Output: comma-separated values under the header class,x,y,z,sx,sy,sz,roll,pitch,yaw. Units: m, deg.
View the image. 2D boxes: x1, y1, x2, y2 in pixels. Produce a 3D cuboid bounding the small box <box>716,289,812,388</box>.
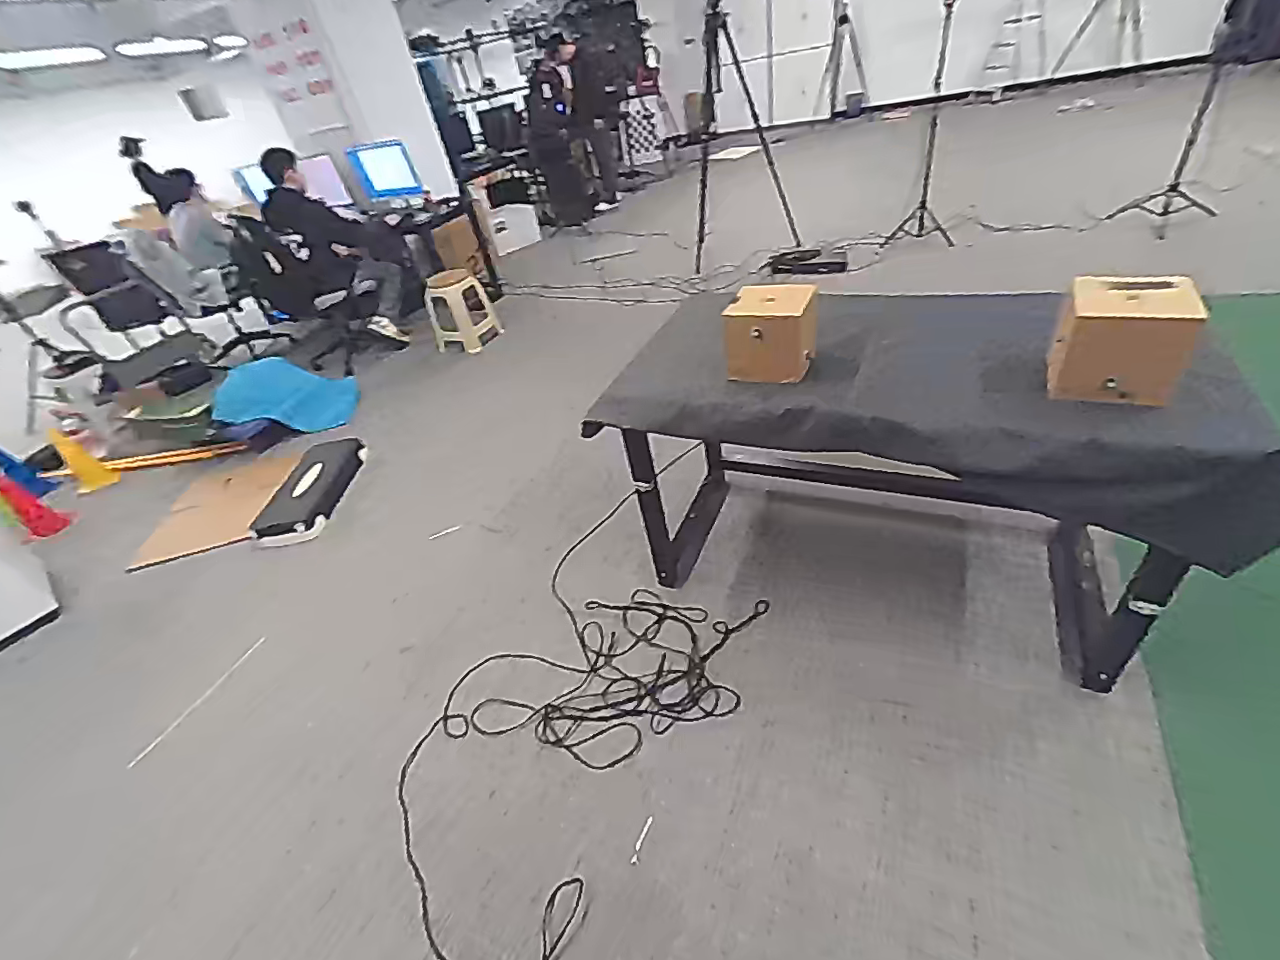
class,x,y,z,sx,sy,sz,roll,pitch,yaw
small box,0.289,-0.328,1.248,0.179,0.176,0.168,10,44,25
